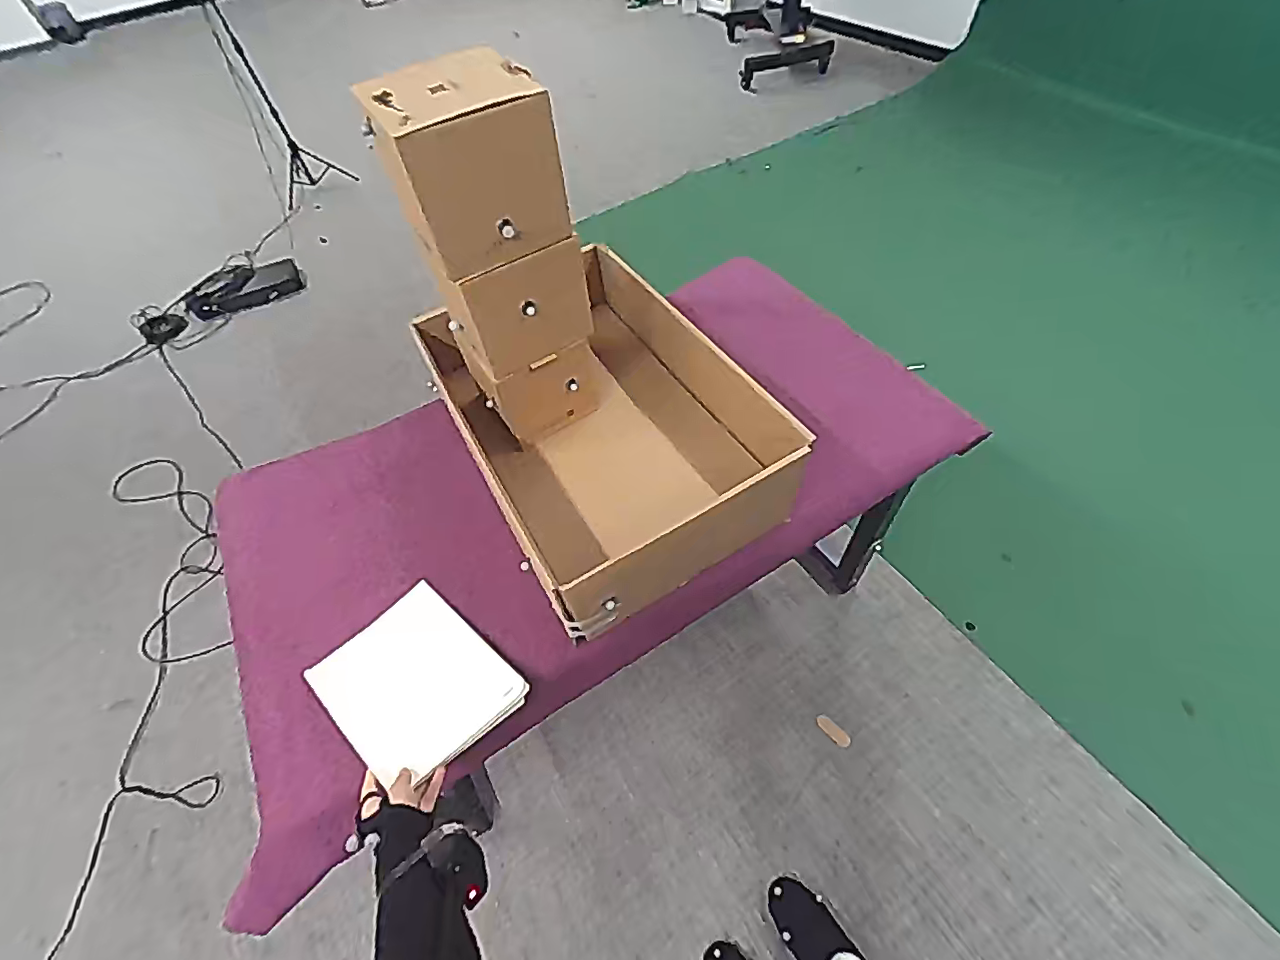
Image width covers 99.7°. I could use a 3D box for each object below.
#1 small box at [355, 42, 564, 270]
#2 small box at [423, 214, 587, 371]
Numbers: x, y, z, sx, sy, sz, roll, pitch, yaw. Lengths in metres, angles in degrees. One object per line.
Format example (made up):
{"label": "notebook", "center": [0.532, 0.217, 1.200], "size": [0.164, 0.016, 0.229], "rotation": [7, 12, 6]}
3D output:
{"label": "small box", "center": [-0.205, -0.390, 0.657], "size": [0.179, 0.176, 0.168], "rotation": [-28, 58, -16]}
{"label": "small box", "center": [-0.190, -0.295, 0.791], "size": [0.179, 0.176, 0.168], "rotation": [-31, 58, -16]}
